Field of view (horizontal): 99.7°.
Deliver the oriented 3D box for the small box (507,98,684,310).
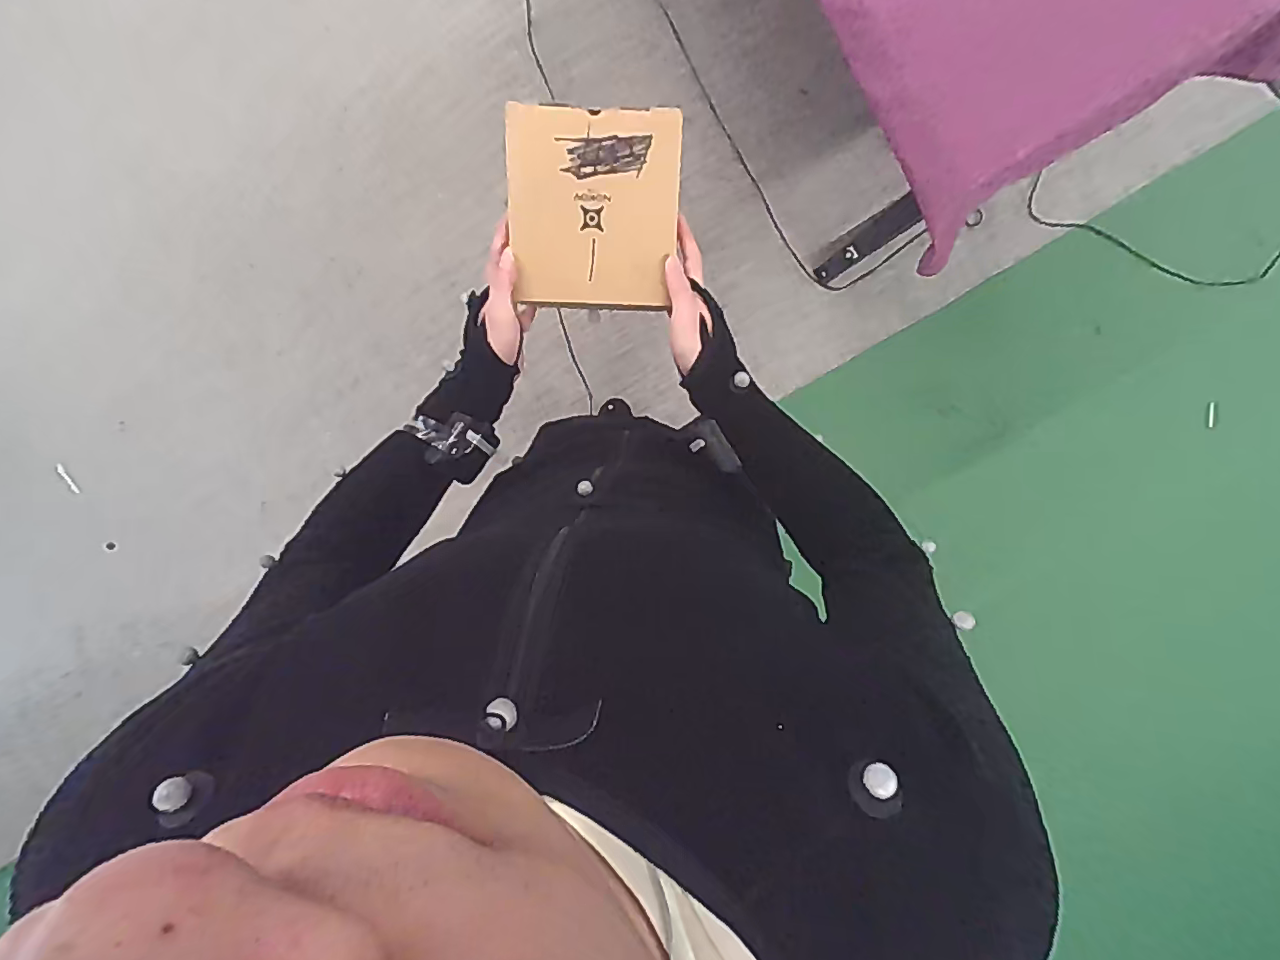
[{"bbox_3d":[-0.045,-0.283,0.592,0.168,0.176,0.179,2,106,-1],"label":"small box"}]
